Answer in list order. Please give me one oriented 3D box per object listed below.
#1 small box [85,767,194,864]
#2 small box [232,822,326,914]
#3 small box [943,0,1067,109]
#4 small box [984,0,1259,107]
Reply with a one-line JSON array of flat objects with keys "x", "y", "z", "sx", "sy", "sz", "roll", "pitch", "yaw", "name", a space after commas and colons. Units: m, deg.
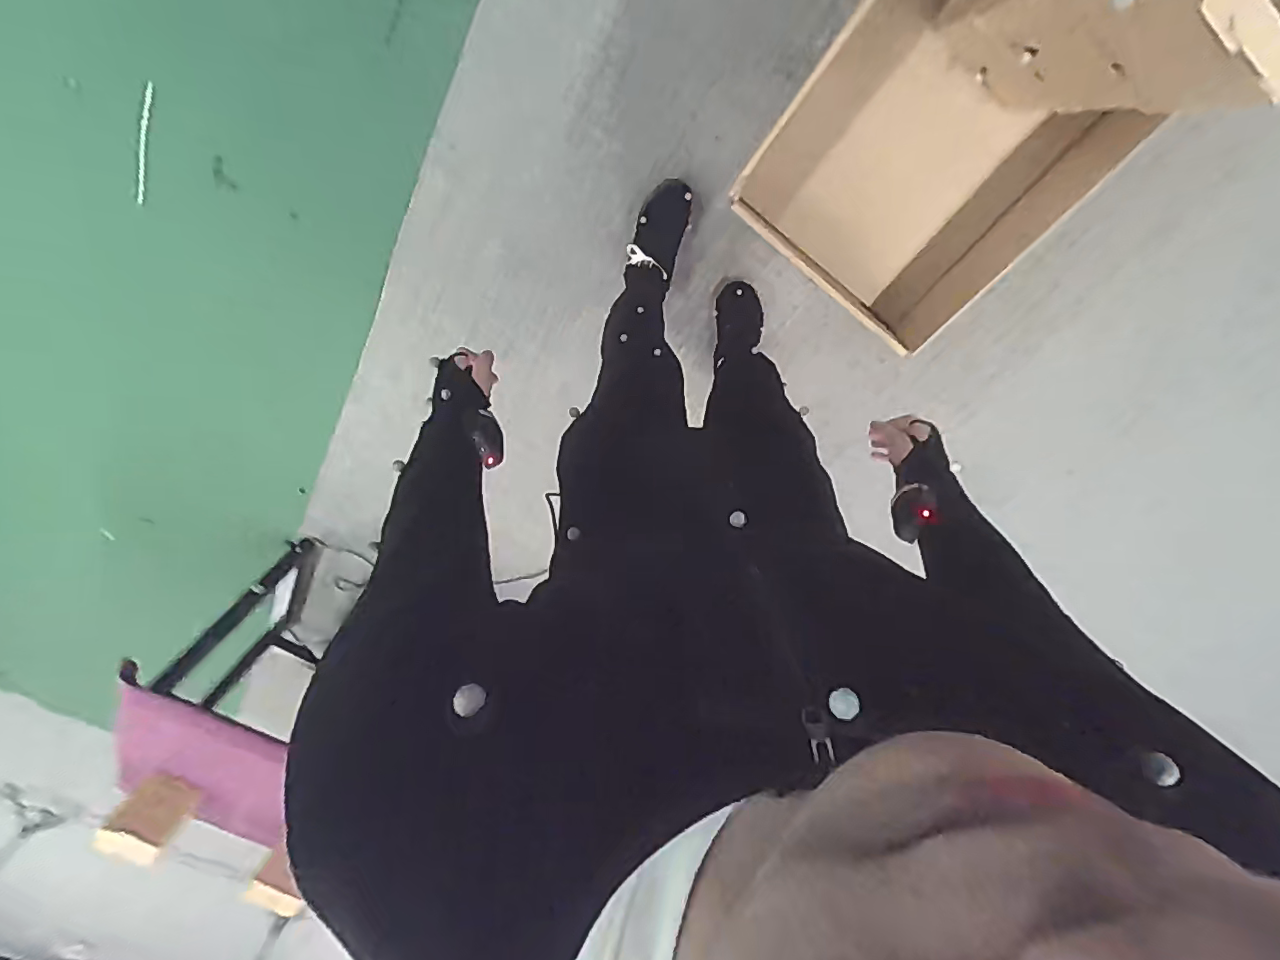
[{"x": -1.481, "y": 0.994, "z": 1.609, "sx": 0.168, "sy": 0.176, "sz": 0.179, "roll": 33, "pitch": 118, "yaw": -12, "name": "small box"}, {"x": -1.123, "y": 1.211, "z": 1.693, "sx": 0.168, "sy": 0.176, "sz": 0.179, "roll": 35, "pitch": 120, "yaw": -12, "name": "small box"}, {"x": 0.523, "y": -0.605, "z": 0.675, "sx": 0.168, "sy": 0.176, "sz": 0.179, "roll": 35, "pitch": 122, "yaw": -12, "name": "small box"}, {"x": 0.498, "y": -0.515, "z": 0.542, "sx": 0.168, "sy": 0.176, "sz": 0.179, "roll": 34, "pitch": 123, "yaw": -13, "name": "small box"}]
